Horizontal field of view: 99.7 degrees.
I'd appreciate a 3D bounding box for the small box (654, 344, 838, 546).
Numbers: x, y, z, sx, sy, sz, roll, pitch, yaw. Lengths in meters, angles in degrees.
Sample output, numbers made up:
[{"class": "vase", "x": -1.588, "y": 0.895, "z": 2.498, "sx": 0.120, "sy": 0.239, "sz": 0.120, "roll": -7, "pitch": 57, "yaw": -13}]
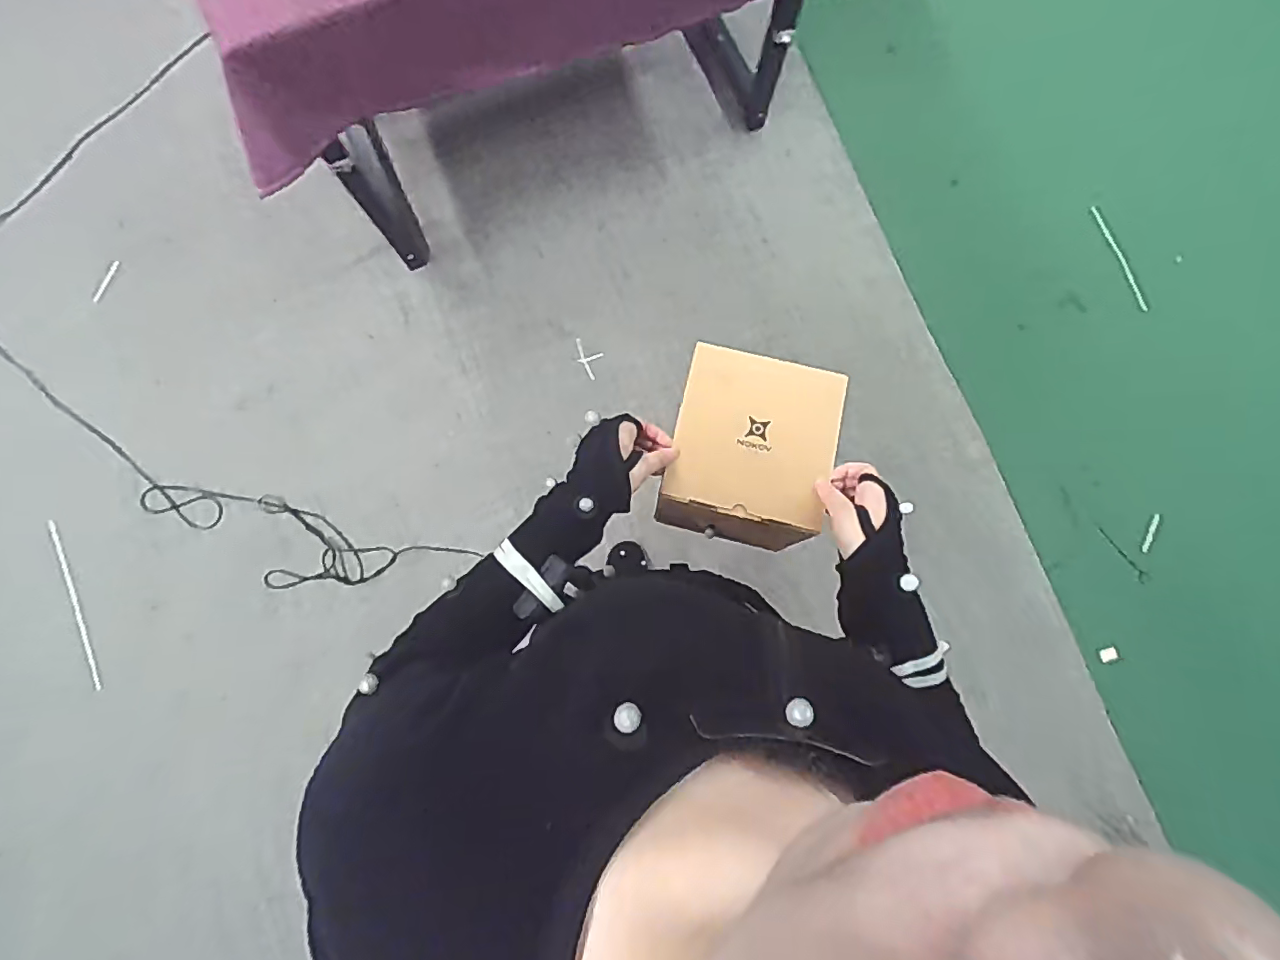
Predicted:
[{"class": "small box", "x": 0.112, "y": -0.030, "z": 0.634, "sx": 0.168, "sy": 0.176, "sz": 0.179, "roll": 13, "pitch": 79, "yaw": 3}]
